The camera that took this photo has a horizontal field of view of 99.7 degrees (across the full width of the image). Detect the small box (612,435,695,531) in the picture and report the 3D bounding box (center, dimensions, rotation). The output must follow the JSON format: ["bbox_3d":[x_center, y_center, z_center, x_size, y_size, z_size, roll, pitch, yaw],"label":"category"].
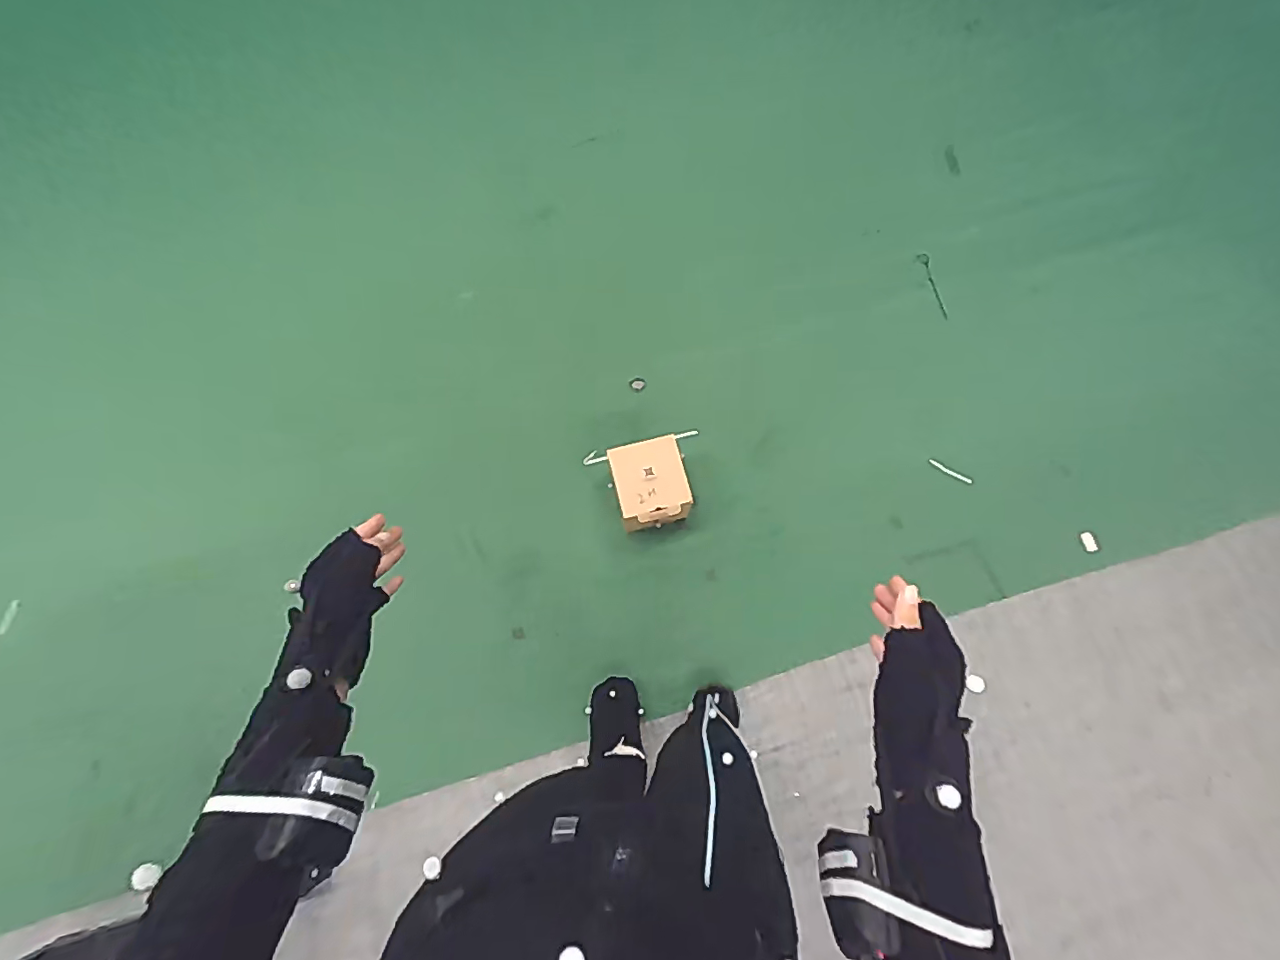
[{"bbox_3d":[0.029,0.013,1.332,0.168,0.176,0.179,-14,75,-4],"label":"small box"}]
